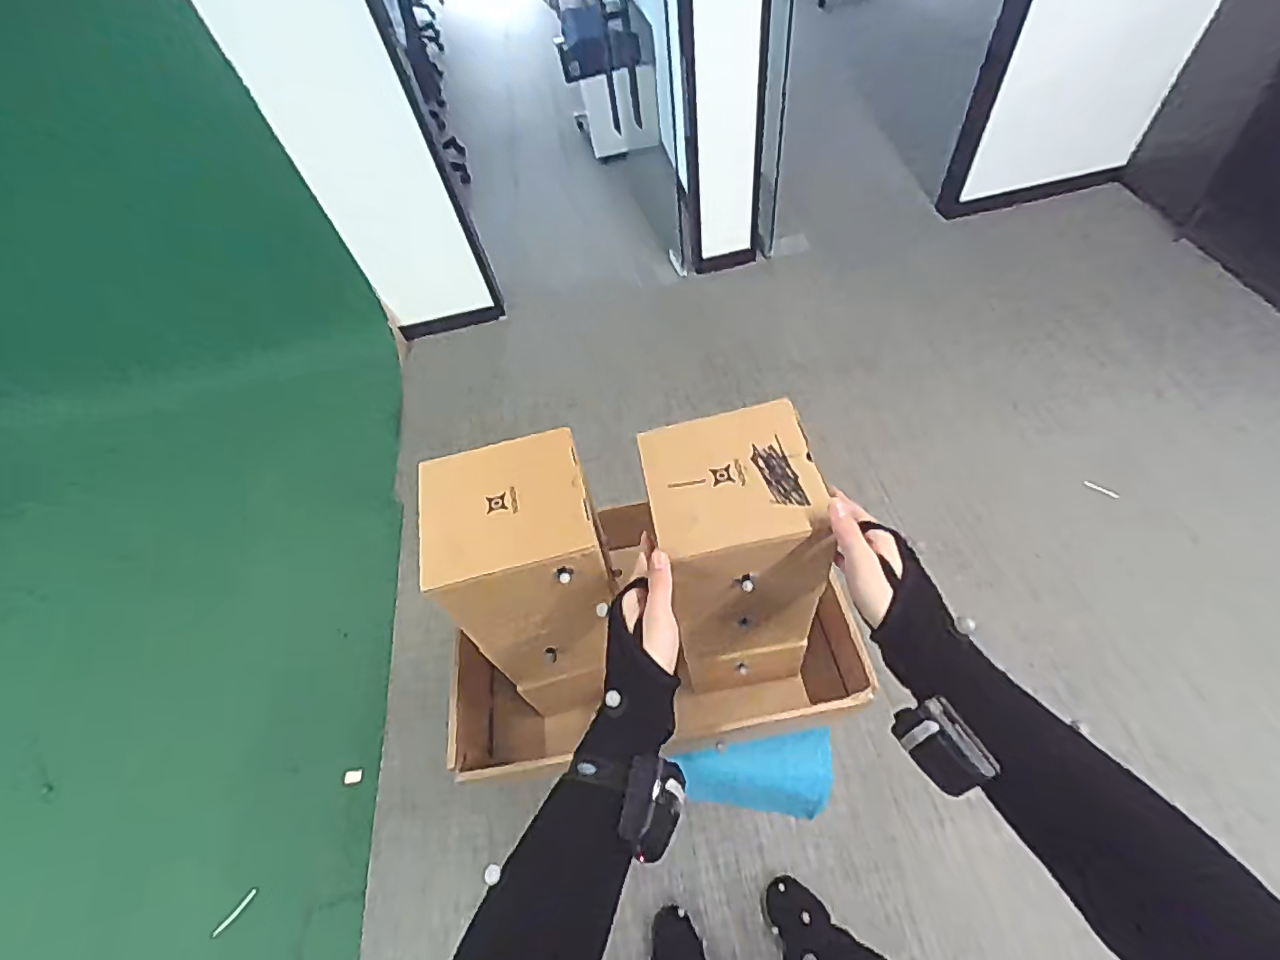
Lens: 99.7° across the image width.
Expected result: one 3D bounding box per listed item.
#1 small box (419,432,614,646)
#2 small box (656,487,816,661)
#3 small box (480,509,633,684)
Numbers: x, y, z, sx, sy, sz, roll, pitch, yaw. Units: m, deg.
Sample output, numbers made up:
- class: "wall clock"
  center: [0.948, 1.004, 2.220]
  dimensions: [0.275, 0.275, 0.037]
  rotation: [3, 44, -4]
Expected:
- class: "small box"
  center: [-0.139, 0.075, 0.634]
  dimensions: [0.179, 0.176, 0.168]
  rotation: [-14, 54, -5]
- class: "small box"
  center: [0.128, 0.136, 0.748]
  dimensions: [0.179, 0.176, 0.168]
  rotation: [-11, 54, 3]
- class: "small box"
  center: [-0.118, 0.170, 0.765]
  dimensions: [0.179, 0.176, 0.168]
  rotation: [-14, 54, -4]
